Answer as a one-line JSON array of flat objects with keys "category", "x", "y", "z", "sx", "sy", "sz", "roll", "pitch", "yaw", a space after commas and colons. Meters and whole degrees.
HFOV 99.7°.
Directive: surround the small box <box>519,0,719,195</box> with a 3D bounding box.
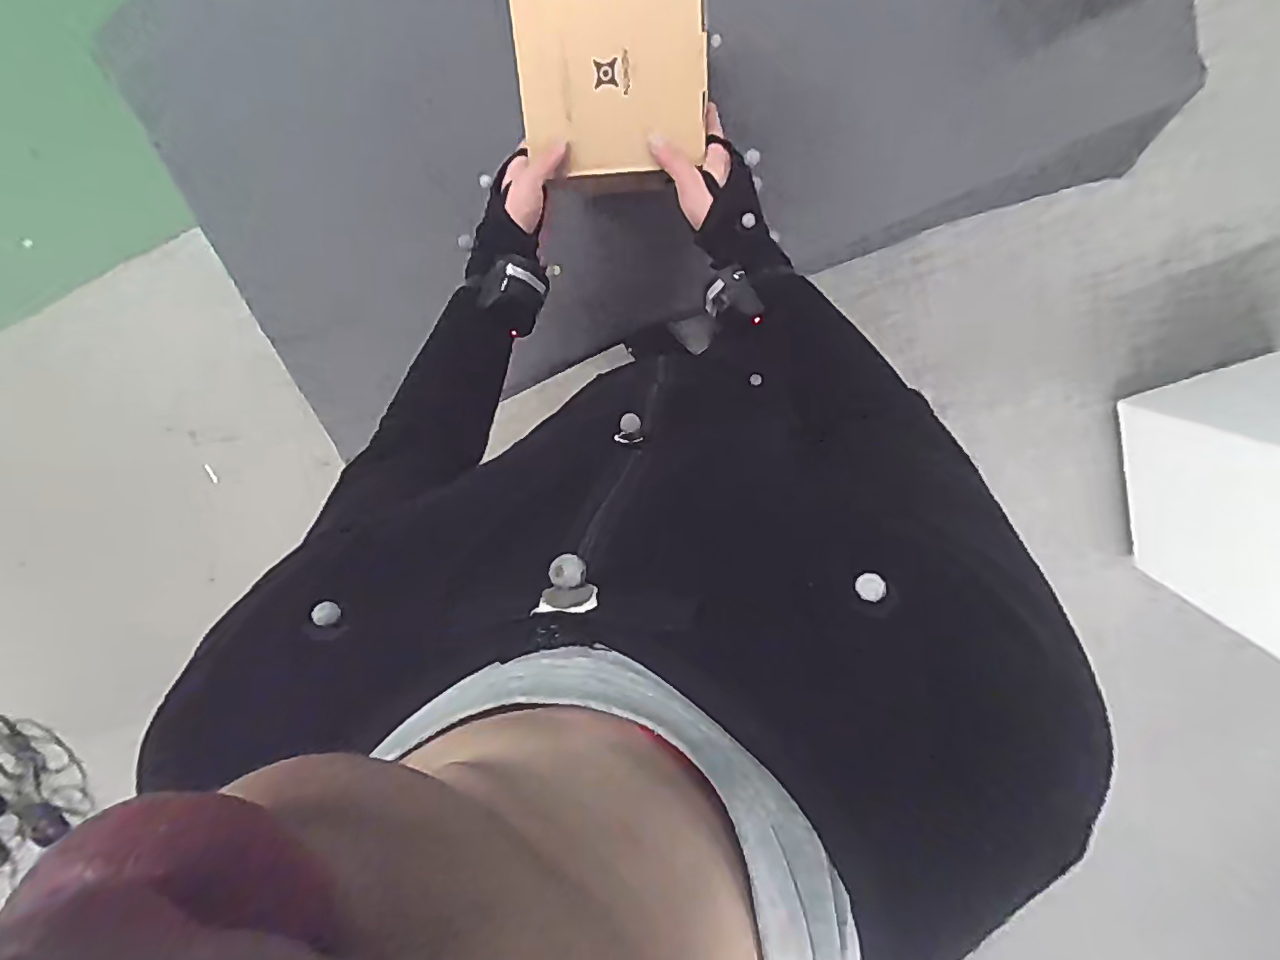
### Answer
[{"category": "small box", "x": -0.009, "y": -0.398, "z": 0.560, "sx": 0.179, "sy": 0.176, "sz": 0.168, "roll": 0, "pitch": 112, "yaw": 8}]
